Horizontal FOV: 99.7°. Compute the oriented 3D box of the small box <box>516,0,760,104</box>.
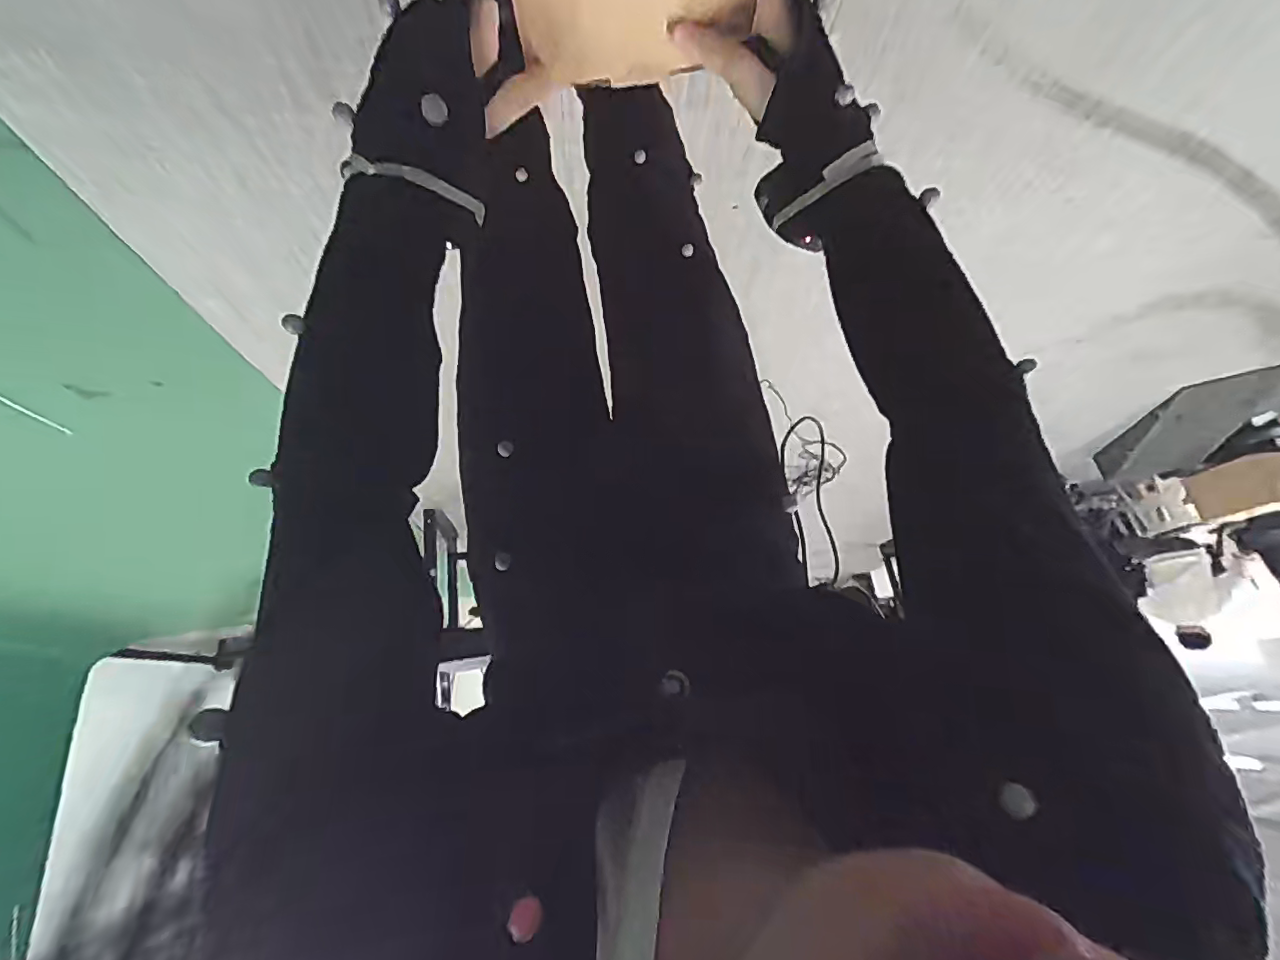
[{"bbox_3d":[-0.013,-0.398,0.352,0.168,0.176,0.179,-9,164,-2],"label":"small box"}]
